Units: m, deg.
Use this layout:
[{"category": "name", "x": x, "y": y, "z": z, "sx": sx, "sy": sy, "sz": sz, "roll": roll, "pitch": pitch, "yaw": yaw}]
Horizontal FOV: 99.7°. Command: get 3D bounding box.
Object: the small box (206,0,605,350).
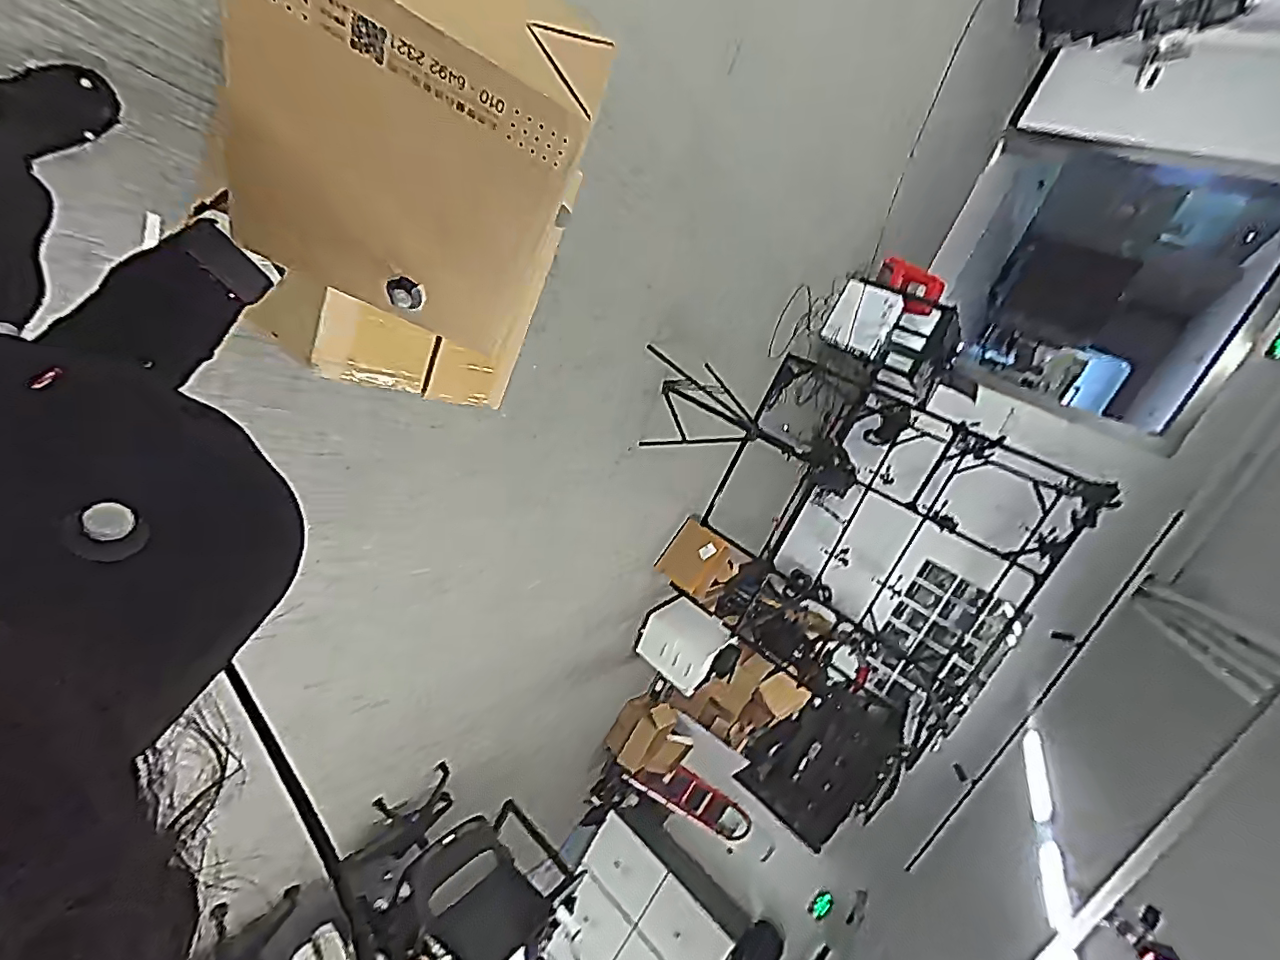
[{"category": "small box", "x": -0.132, "y": -0.224, "z": 0.340, "sx": 0.176, "sy": 0.168, "sz": 0.179, "roll": -49, "pitch": -153, "yaw": 43}]
